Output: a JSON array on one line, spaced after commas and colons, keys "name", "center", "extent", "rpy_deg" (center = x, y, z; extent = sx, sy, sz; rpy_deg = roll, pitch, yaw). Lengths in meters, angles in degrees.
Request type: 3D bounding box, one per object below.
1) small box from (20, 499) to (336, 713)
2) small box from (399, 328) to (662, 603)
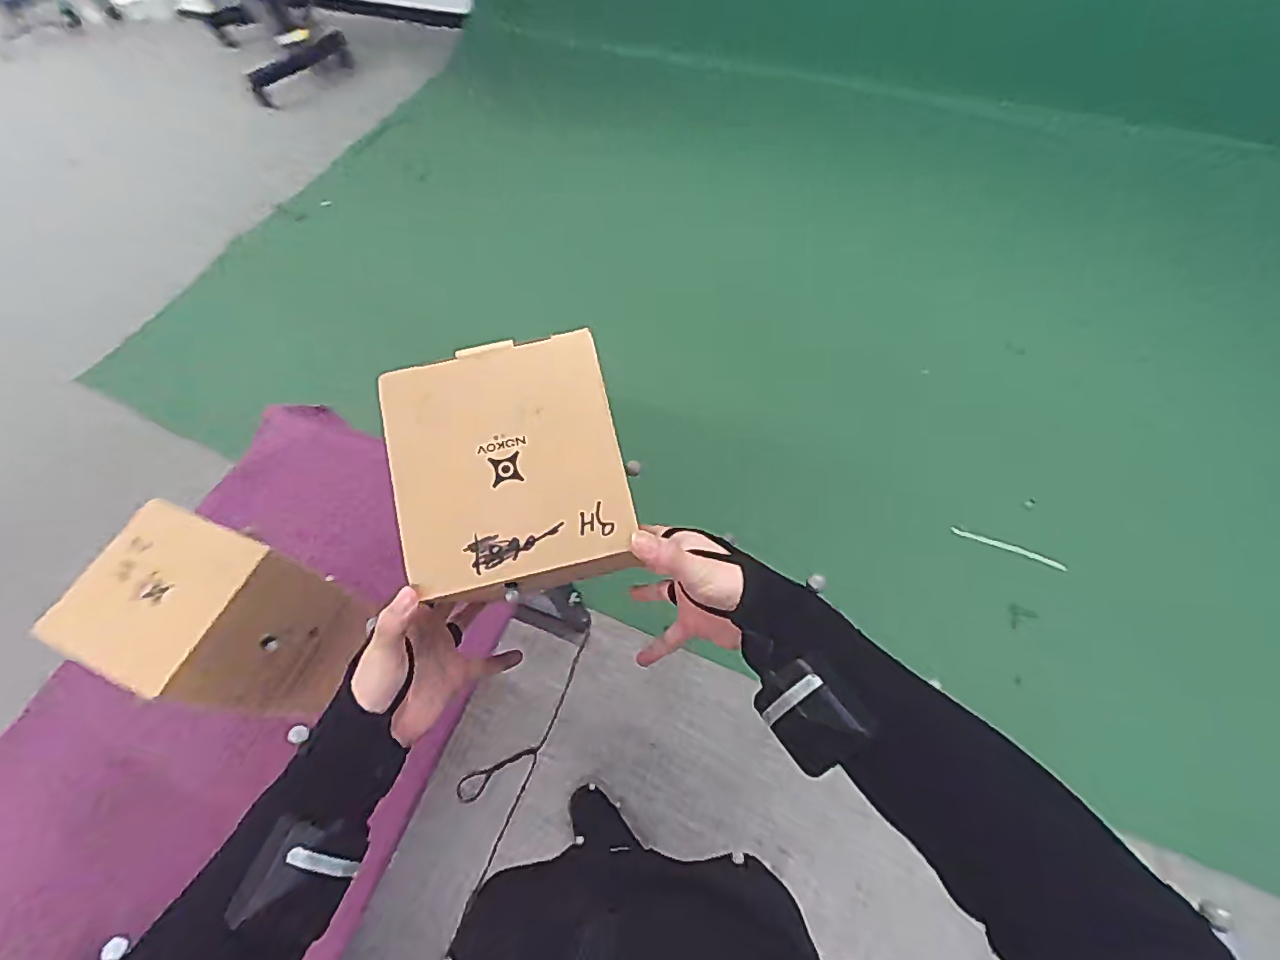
[{"name": "small box", "center": [-0.498, 0.151, 0.617], "extent": [0.179, 0.176, 0.168], "rpy_deg": [18, 63, 13]}, {"name": "small box", "center": [-0.081, 0.002, 0.459], "extent": [0.168, 0.176, 0.179], "rpy_deg": [-12, 77, -1]}]
